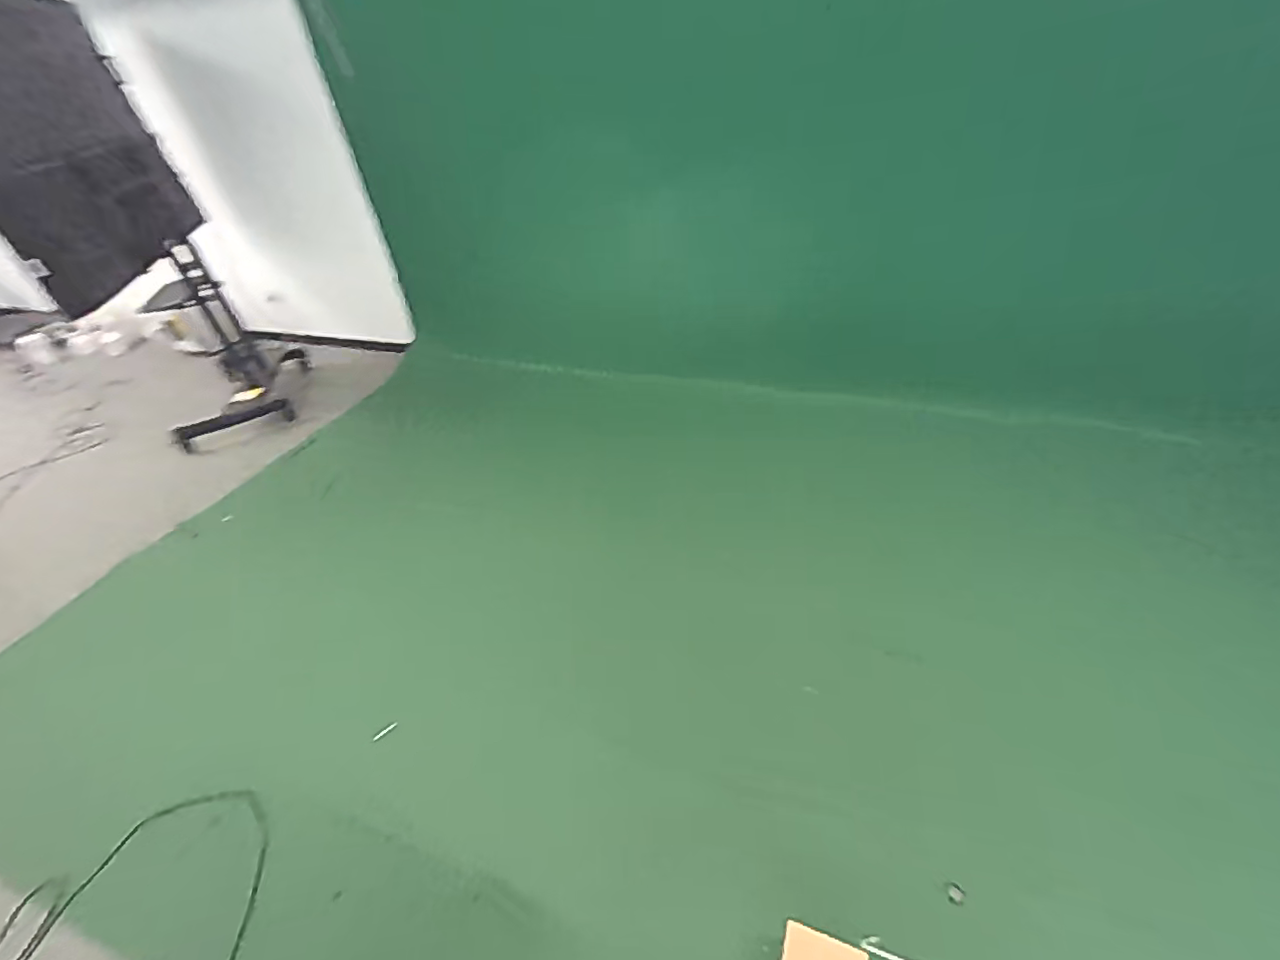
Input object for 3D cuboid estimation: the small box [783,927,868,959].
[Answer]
[{"bbox_3d":[0.376,1.086,1.123,0.168,0.176,0.179,10,42,20],"label":"small box"}]
